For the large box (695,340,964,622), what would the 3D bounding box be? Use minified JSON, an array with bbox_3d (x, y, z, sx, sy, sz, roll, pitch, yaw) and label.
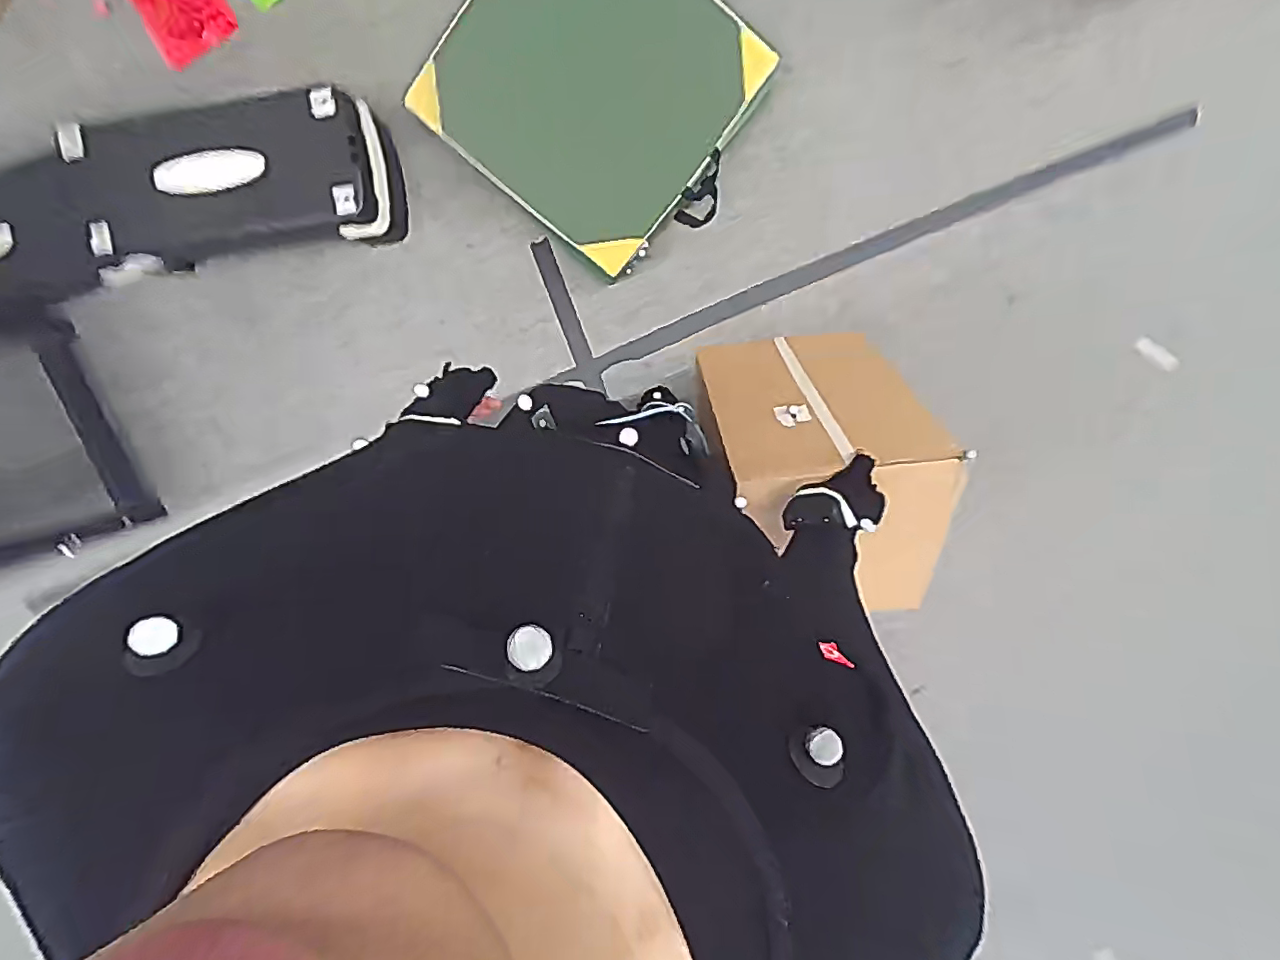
[{"bbox_3d":[0.280,-0.011,0.965,0.320,0.408,0.320,-6,130,2],"label":"large box"}]
